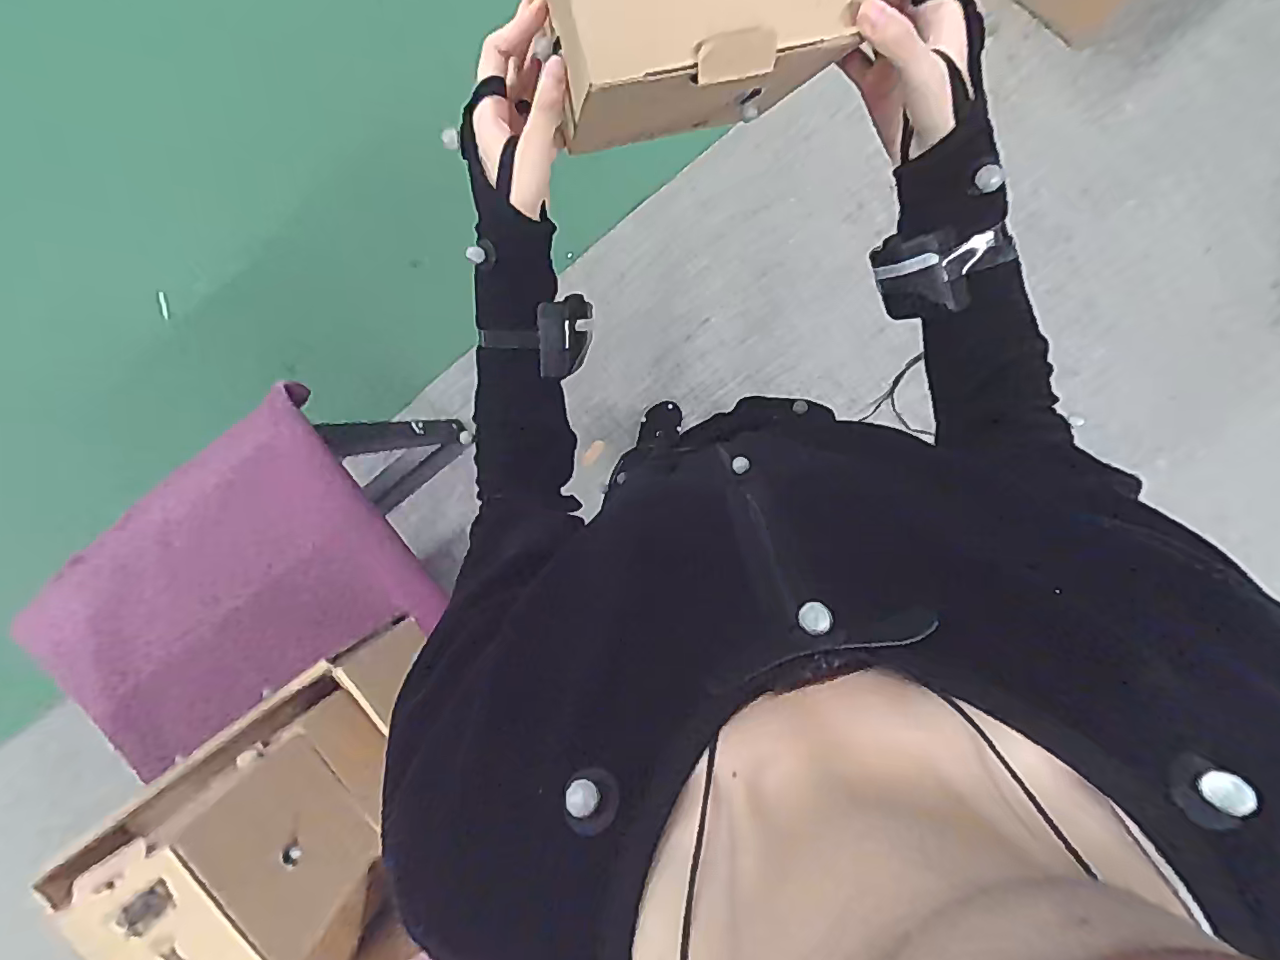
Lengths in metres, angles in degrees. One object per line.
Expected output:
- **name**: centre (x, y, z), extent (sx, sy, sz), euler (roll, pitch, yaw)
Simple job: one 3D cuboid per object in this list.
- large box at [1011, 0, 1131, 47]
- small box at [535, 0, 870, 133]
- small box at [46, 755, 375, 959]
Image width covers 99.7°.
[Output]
- **large box**: centre (0.968, -1.250, 1.131), extent (0.408, 0.320, 0.320), euler (39, 98, 2)
- **small box**: centre (0.019, -0.334, 0.330), extent (0.168, 0.176, 0.179), euler (-14, 111, -6)
- **small box**: centre (-0.432, 0.429, 0.575), extent (0.168, 0.176, 0.179), euler (-34, 95, 9)
